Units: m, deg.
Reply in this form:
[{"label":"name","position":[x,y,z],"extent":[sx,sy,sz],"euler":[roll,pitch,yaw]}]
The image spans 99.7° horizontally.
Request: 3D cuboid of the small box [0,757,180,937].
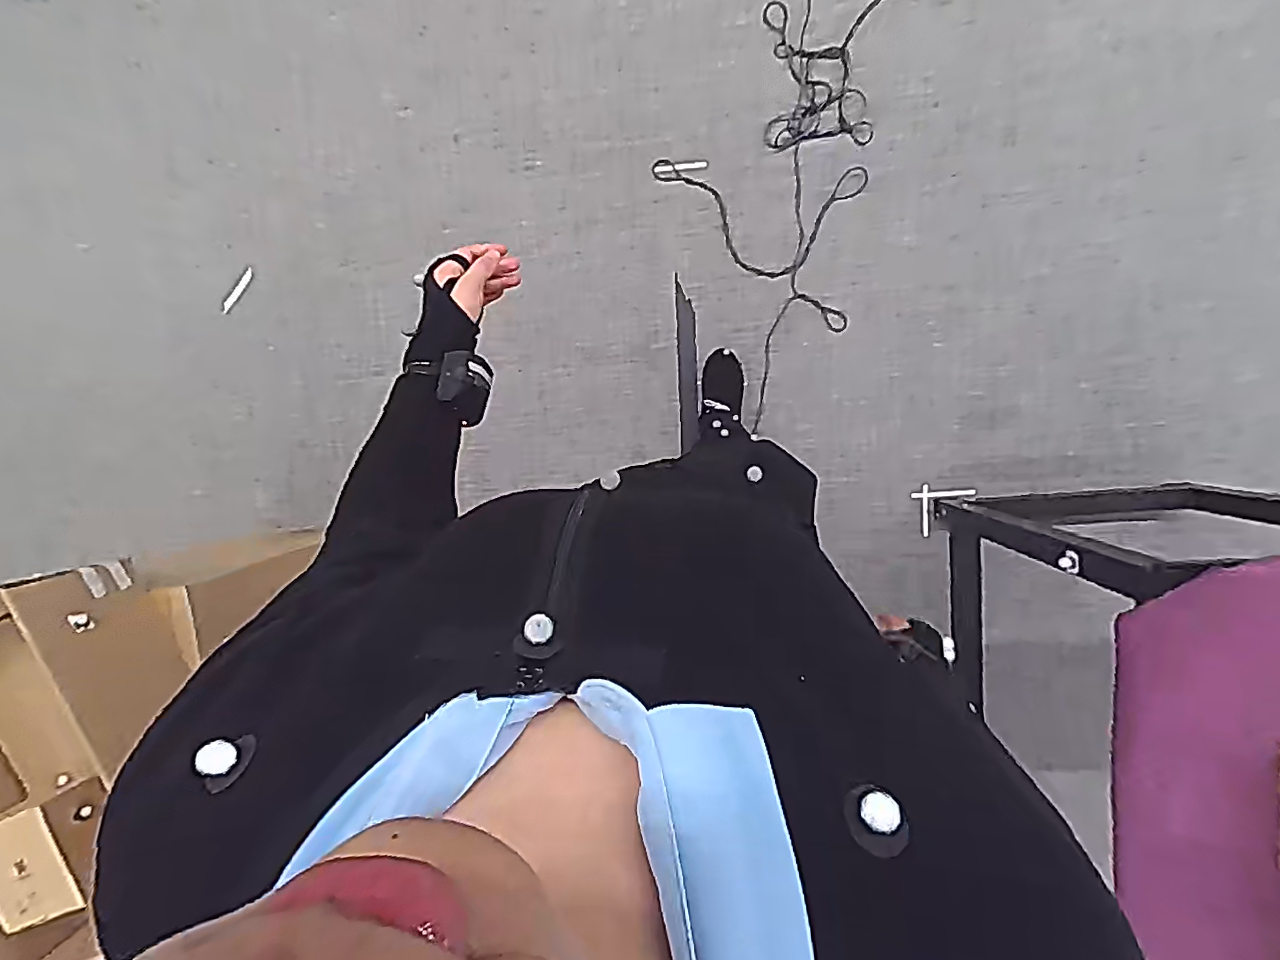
[{"label":"small box","position":[-0.947,0.601,0.912],"extent":[0.168,0.176,0.179],"euler":[-23,93,8]}]
